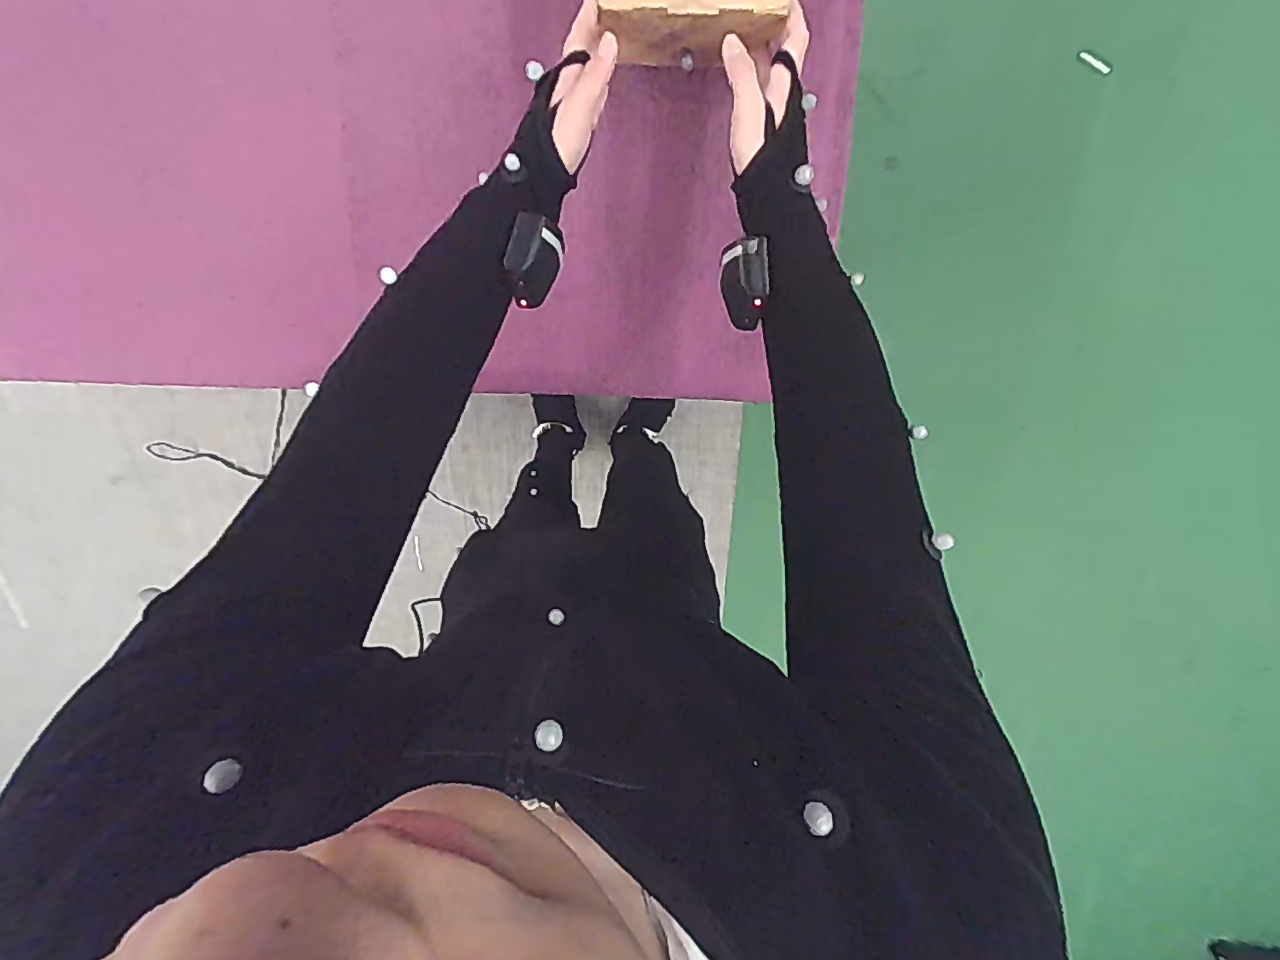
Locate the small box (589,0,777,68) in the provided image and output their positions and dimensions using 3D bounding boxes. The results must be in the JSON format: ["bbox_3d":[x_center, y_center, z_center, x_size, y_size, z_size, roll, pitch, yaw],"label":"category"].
[{"bbox_3d":[0.044,-0.516,0.505,0.168,0.176,0.179,4,116,3],"label":"small box"}]
